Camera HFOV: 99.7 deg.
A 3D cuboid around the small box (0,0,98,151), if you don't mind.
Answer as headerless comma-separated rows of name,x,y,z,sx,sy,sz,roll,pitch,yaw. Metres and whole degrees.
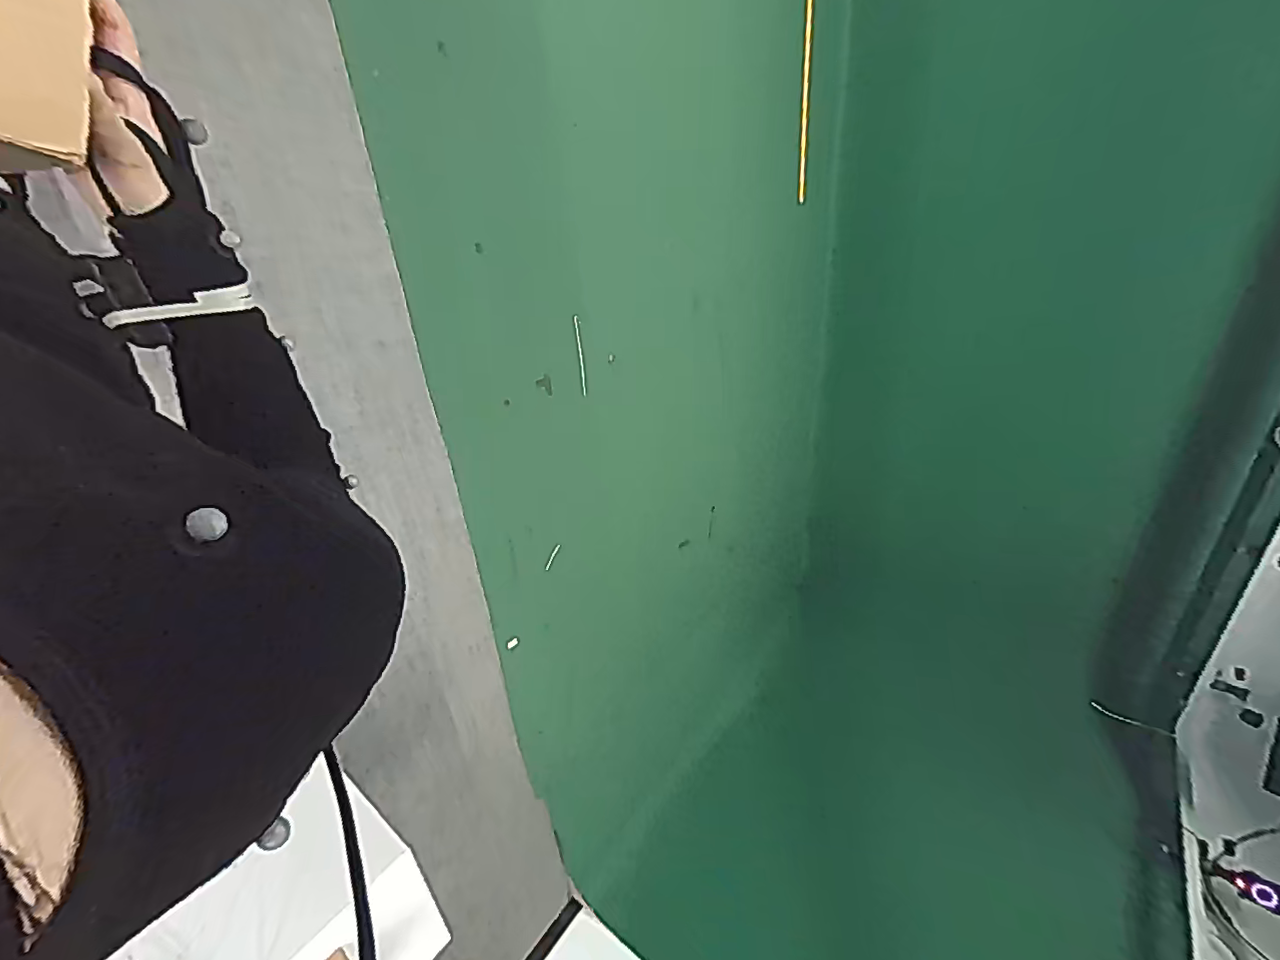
small box,-0.352,-0.259,0.213,0.168,0.176,0.179,-5,110,-58
